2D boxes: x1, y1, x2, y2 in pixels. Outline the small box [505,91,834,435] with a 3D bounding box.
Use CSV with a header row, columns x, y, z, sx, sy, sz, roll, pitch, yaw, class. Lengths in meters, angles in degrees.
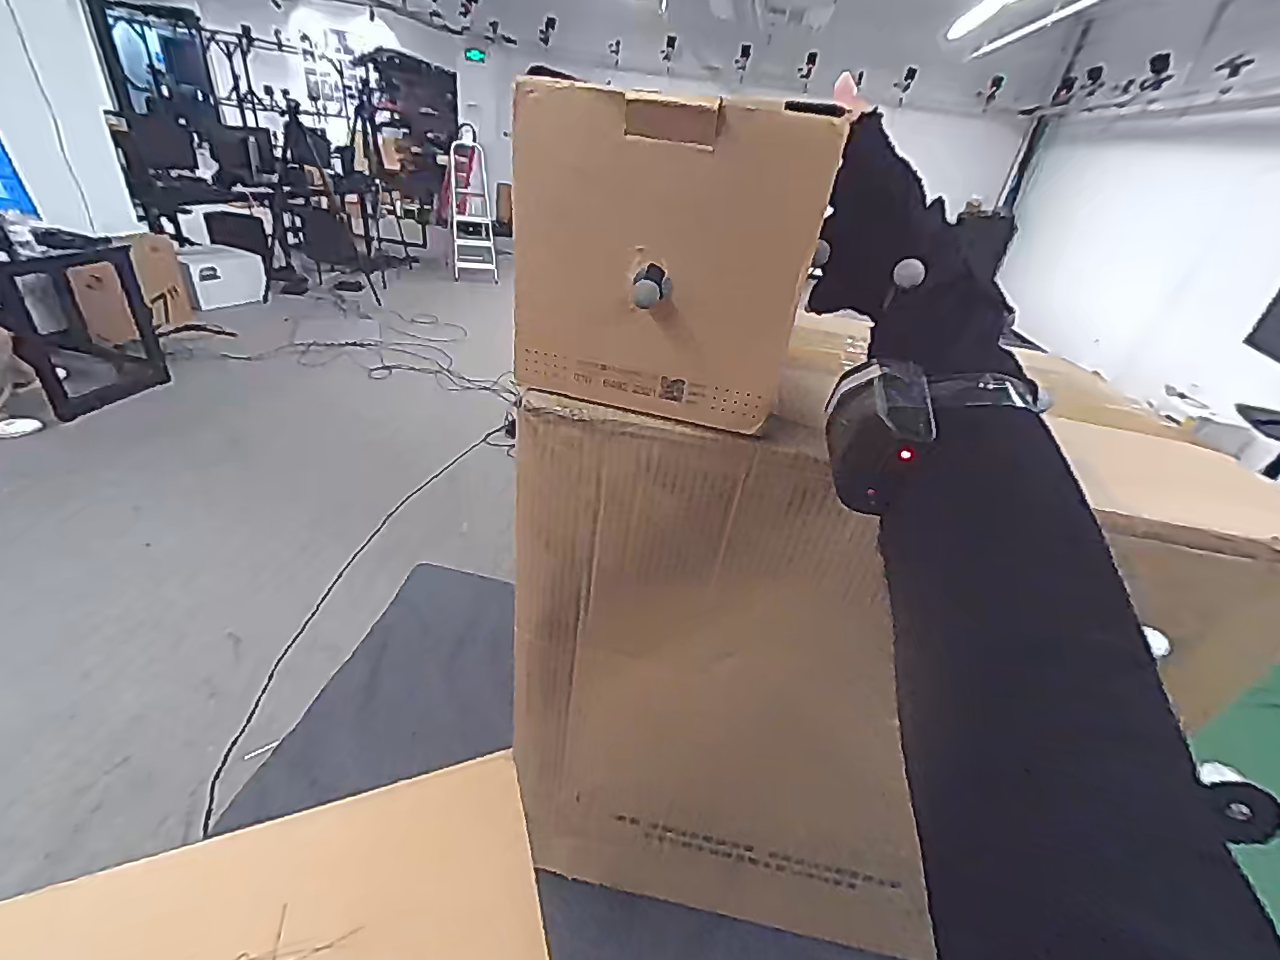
x,y,z,sx,sy,sz,roll,pitch,yaw,class
0.025,-0.150,0.369,0.168,0.176,0.179,14,35,9,small box
